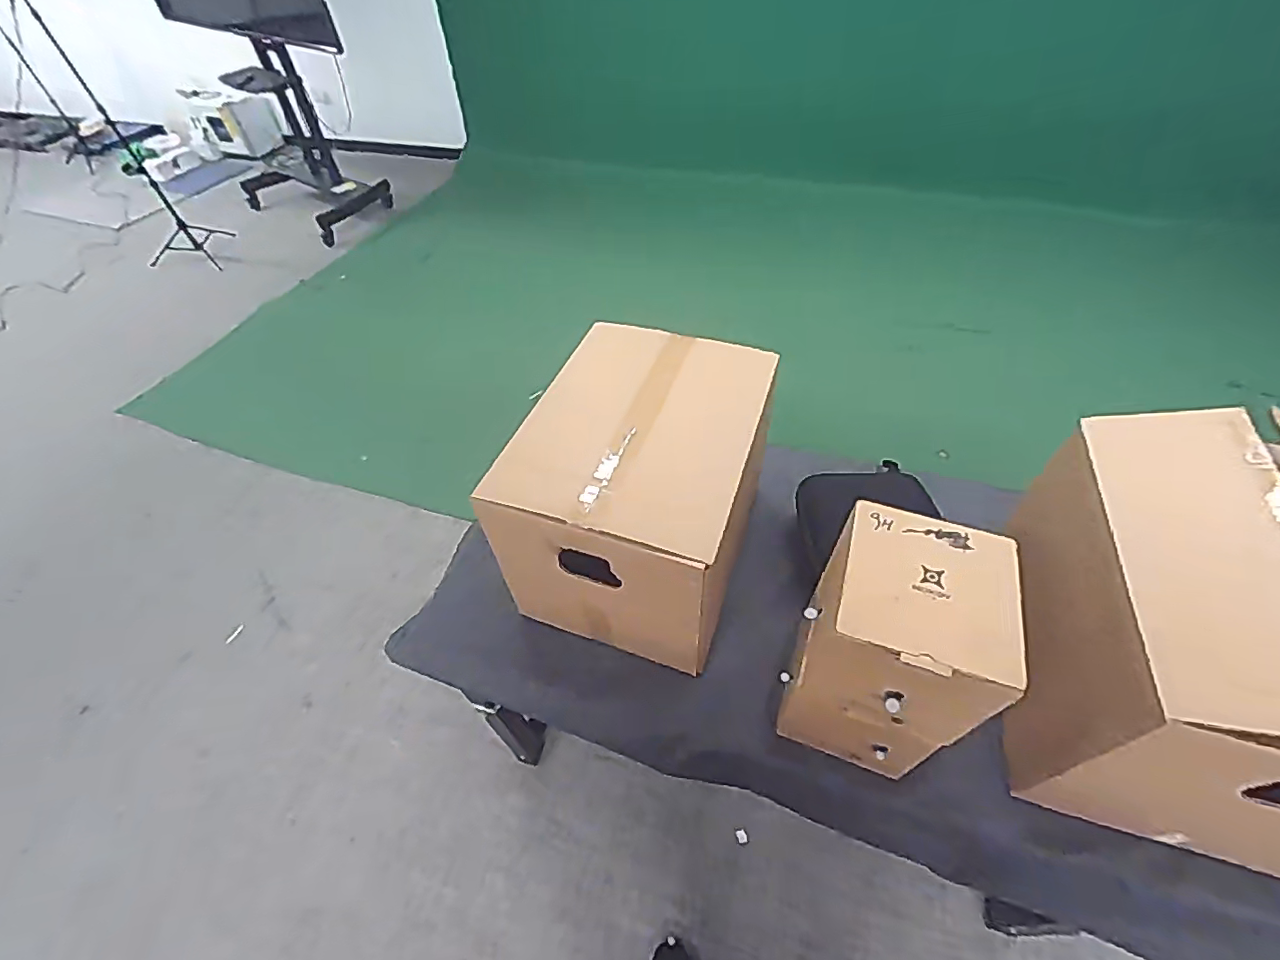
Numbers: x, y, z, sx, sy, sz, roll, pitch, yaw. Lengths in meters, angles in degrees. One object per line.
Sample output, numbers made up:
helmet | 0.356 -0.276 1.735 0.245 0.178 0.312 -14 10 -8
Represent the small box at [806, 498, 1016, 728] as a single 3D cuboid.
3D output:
small box | 0.296 0.155 0.615 0.168 0.176 0.179 15 53 14
